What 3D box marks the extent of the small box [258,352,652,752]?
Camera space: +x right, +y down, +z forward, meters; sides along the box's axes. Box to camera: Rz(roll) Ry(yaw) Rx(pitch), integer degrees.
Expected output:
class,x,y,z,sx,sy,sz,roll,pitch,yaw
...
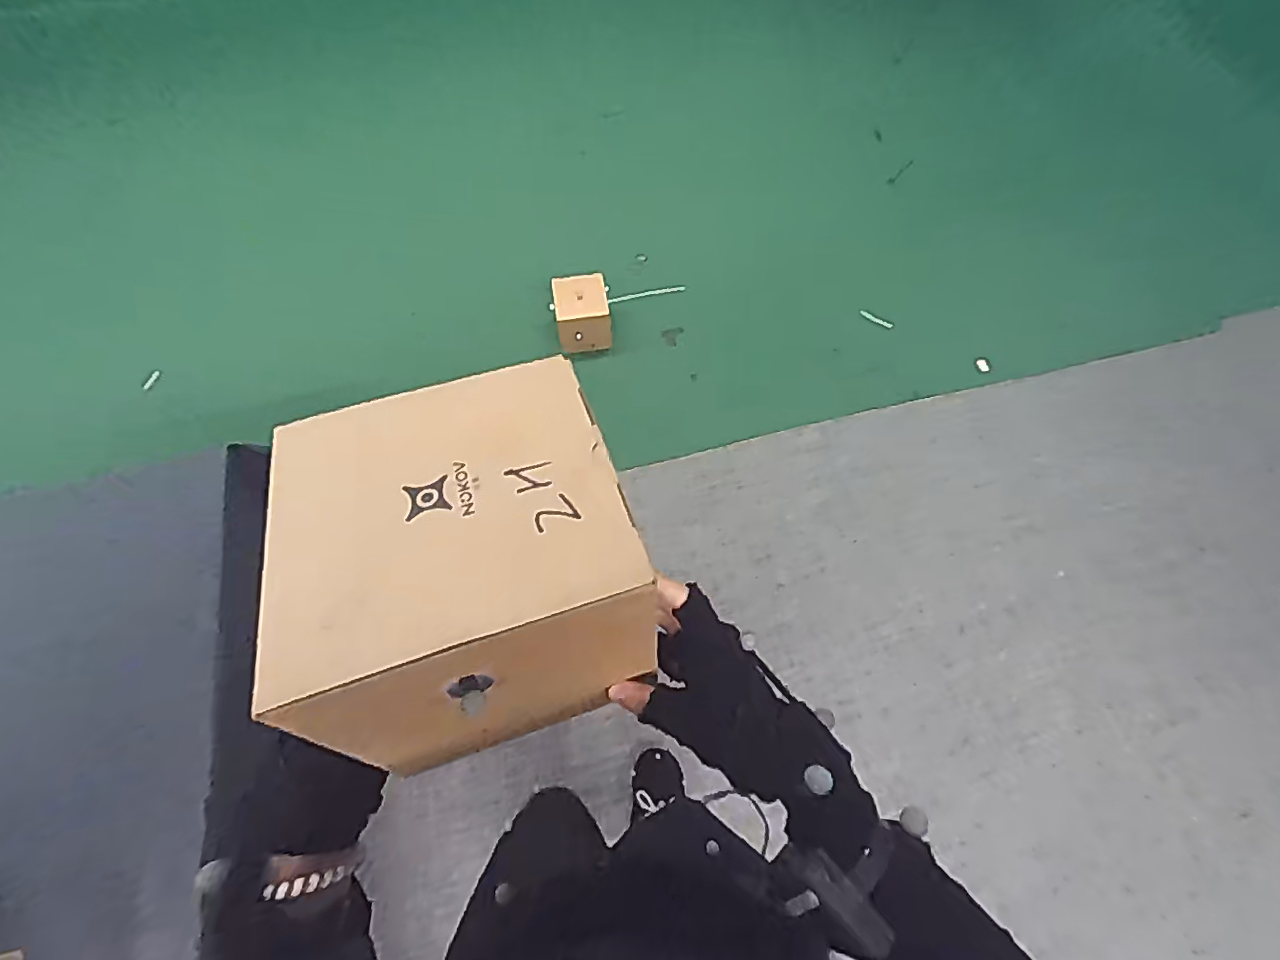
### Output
class,x,y,z,sx,sy,sz,roll,pitch,yaw
small box,-0.097,0.051,0.345,0.179,0.176,0.168,-16,55,-10

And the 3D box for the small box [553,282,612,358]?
class,x,y,z,sx,sy,sz,roll,pitch,yaw
small box,-0.185,-0.518,1.775,0.168,0.176,0.179,-8,63,-5
